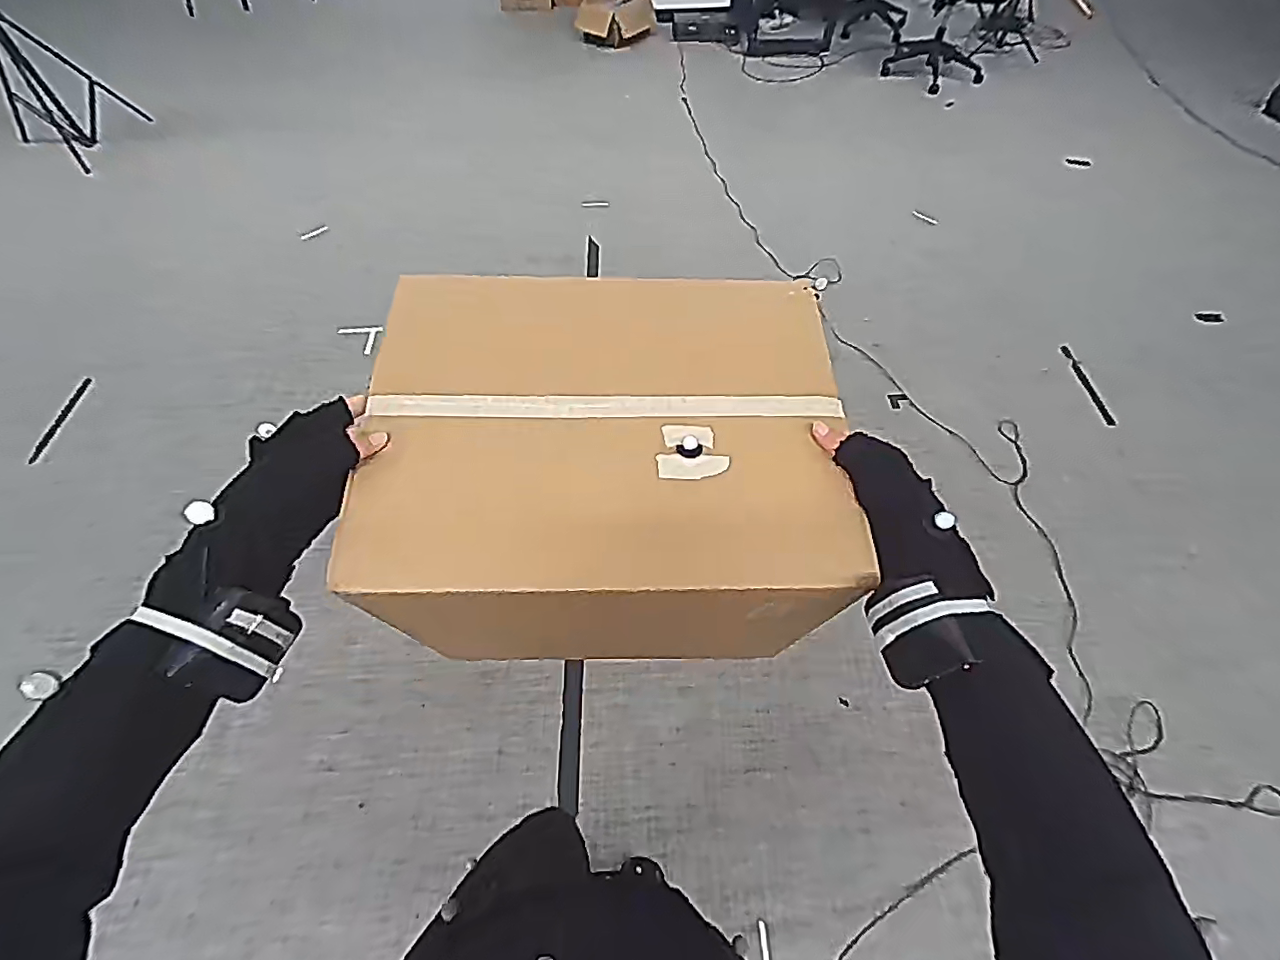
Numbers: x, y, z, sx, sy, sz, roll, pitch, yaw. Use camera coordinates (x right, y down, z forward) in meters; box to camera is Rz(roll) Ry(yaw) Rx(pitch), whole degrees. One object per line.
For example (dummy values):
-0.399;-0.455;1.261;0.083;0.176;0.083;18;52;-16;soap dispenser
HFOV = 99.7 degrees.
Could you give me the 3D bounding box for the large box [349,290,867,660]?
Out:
-0.031;0.014;0.608;0.408;0.320;0.320;0;63;-3;large box
